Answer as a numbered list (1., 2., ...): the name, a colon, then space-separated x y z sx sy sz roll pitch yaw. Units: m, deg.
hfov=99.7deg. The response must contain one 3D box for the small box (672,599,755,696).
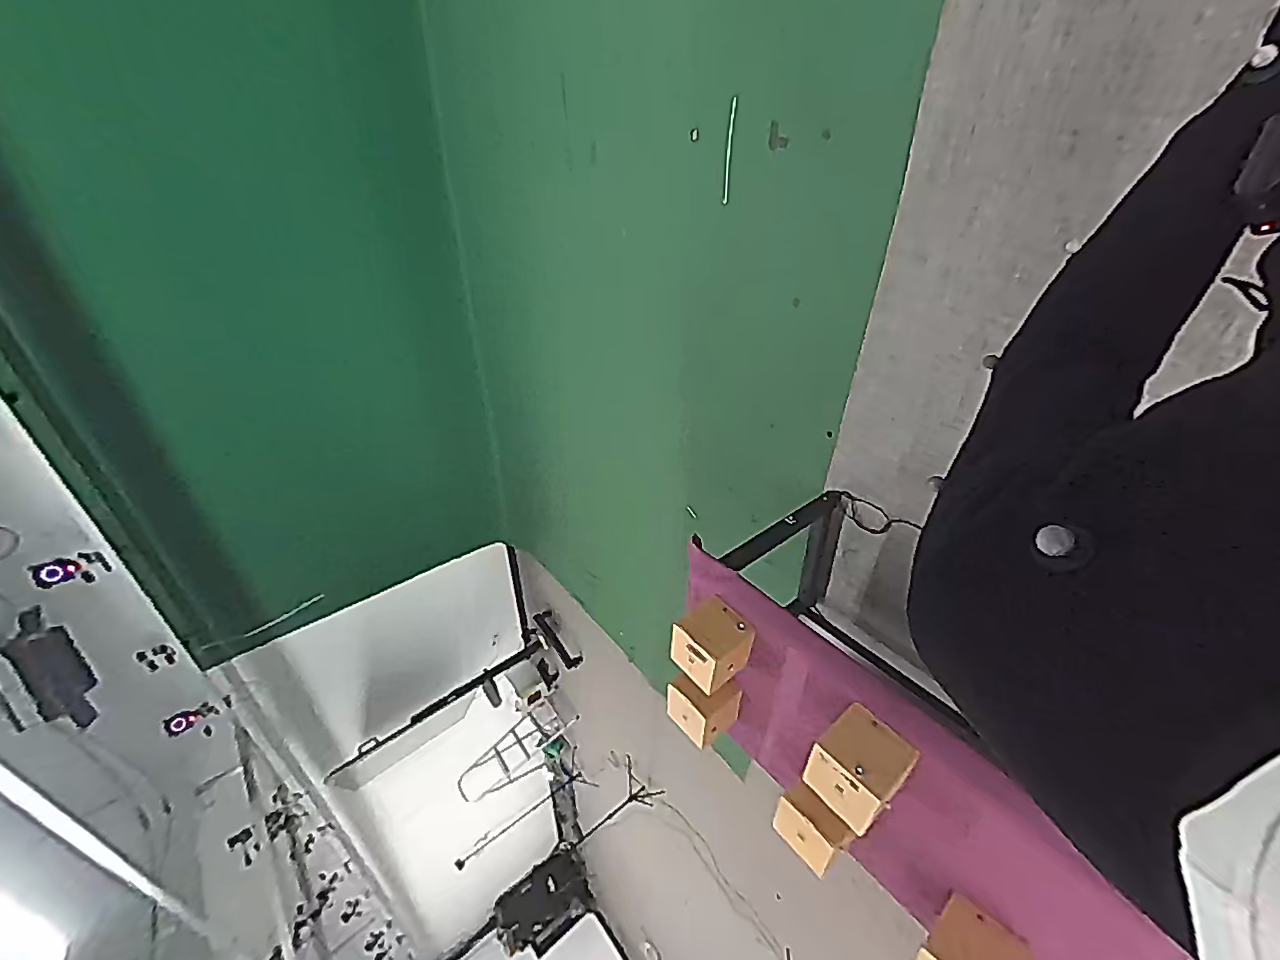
1. small box: 0.214 0.480 1.574 0.168 0.176 0.179 37 140 36

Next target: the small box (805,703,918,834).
1. small box: 0.517 0.669 1.265 0.168 0.176 0.179 35 139 38

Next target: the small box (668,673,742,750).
1. small box: 0.209 0.717 1.743 0.168 0.176 0.179 34 136 38

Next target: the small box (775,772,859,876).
1. small box: 0.494 0.909 1.466 0.168 0.176 0.179 34 136 40
